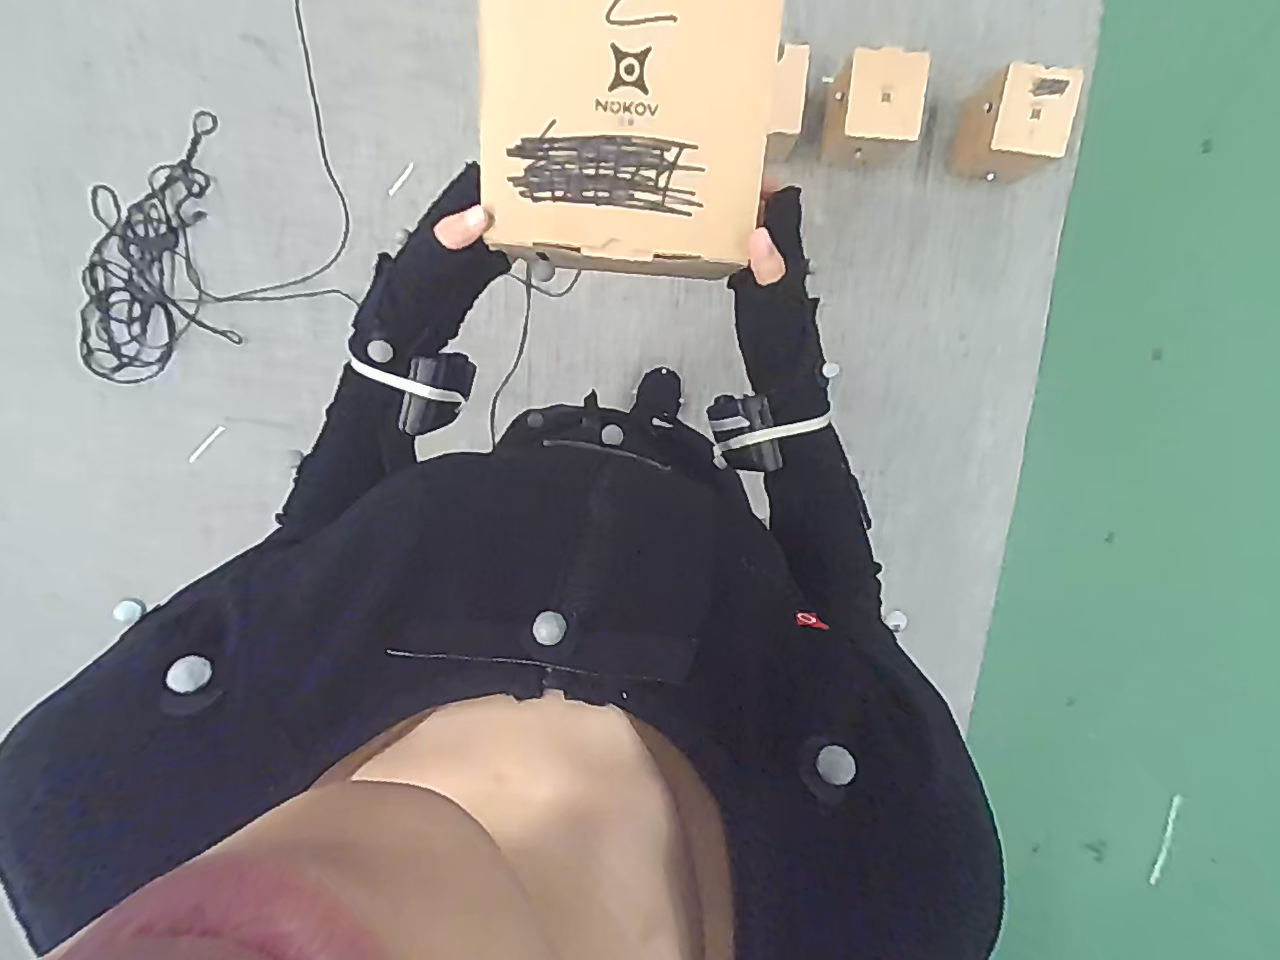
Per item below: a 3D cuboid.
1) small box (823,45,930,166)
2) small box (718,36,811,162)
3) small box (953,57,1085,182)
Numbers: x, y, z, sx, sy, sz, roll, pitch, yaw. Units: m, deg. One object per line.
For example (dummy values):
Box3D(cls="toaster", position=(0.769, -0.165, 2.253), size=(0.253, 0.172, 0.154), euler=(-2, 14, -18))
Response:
Box3D(cls="small box", position=(0.530, -0.846, 1.238), size=(0.168, 0.176, 0.179), euler=(4, 99, 0))
Box3D(cls="small box", position=(0.275, -0.860, 1.234), size=(0.168, 0.176, 0.179), euler=(5, 100, 1))
Box3D(cls="small box", position=(0.854, -0.816, 1.240), size=(0.168, 0.176, 0.179), euler=(8, 101, -1))
